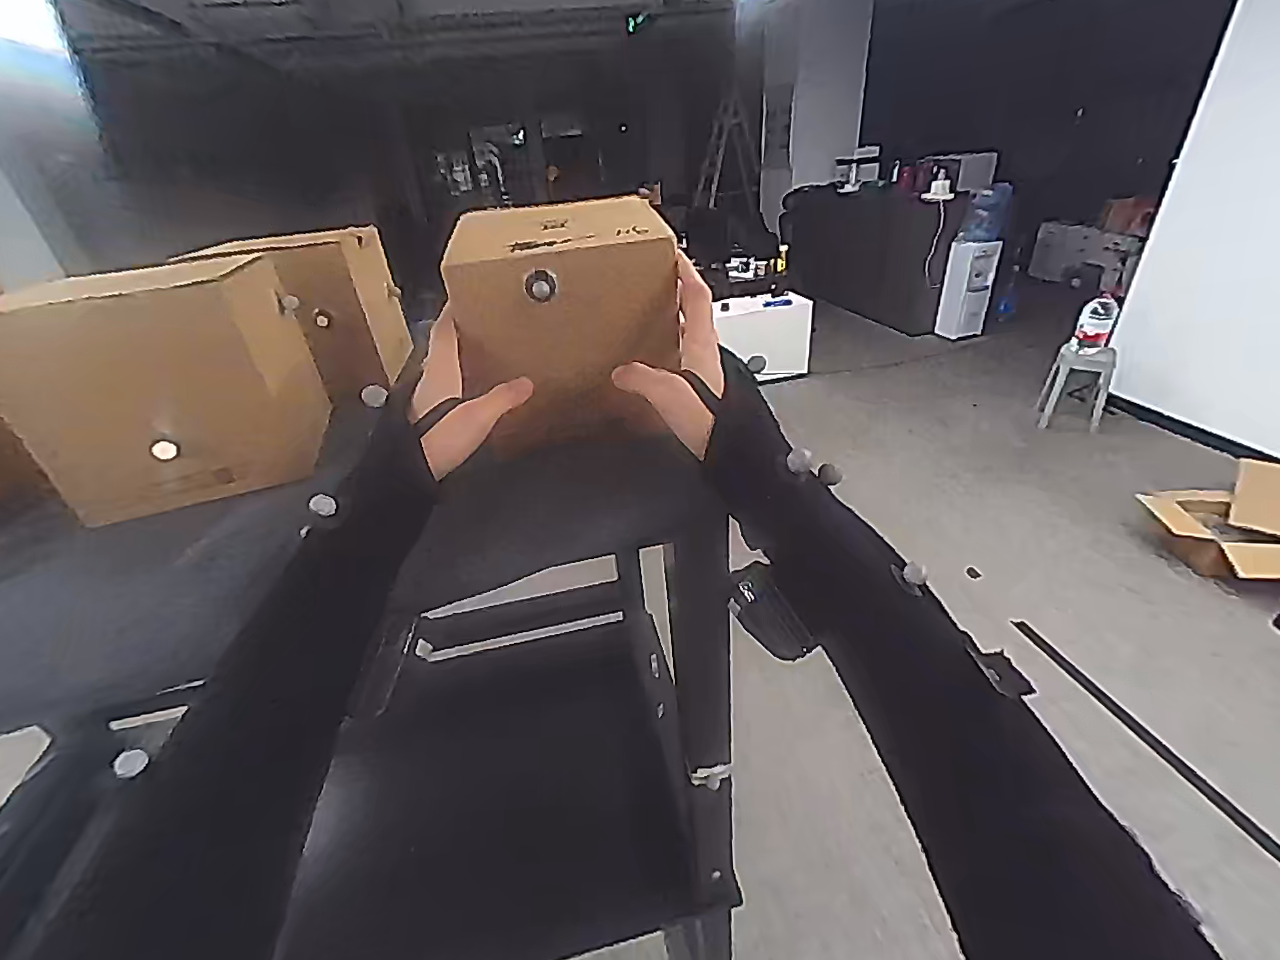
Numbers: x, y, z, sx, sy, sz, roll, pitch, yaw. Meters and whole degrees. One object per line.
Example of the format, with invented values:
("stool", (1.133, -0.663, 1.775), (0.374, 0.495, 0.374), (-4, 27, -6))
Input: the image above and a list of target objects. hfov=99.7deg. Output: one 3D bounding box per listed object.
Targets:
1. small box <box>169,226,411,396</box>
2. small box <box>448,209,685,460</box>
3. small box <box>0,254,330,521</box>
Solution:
("small box", (-0.400, -0.204, 0.664), (0.179, 0.176, 0.168), (-9, 31, -7))
("small box", (-0.058, -0.137, 0.490), (0.168, 0.176, 0.179), (-9, 33, -4))
("small box", (-0.395, -0.090, 0.476), (0.168, 0.176, 0.179), (-15, 33, -15))
